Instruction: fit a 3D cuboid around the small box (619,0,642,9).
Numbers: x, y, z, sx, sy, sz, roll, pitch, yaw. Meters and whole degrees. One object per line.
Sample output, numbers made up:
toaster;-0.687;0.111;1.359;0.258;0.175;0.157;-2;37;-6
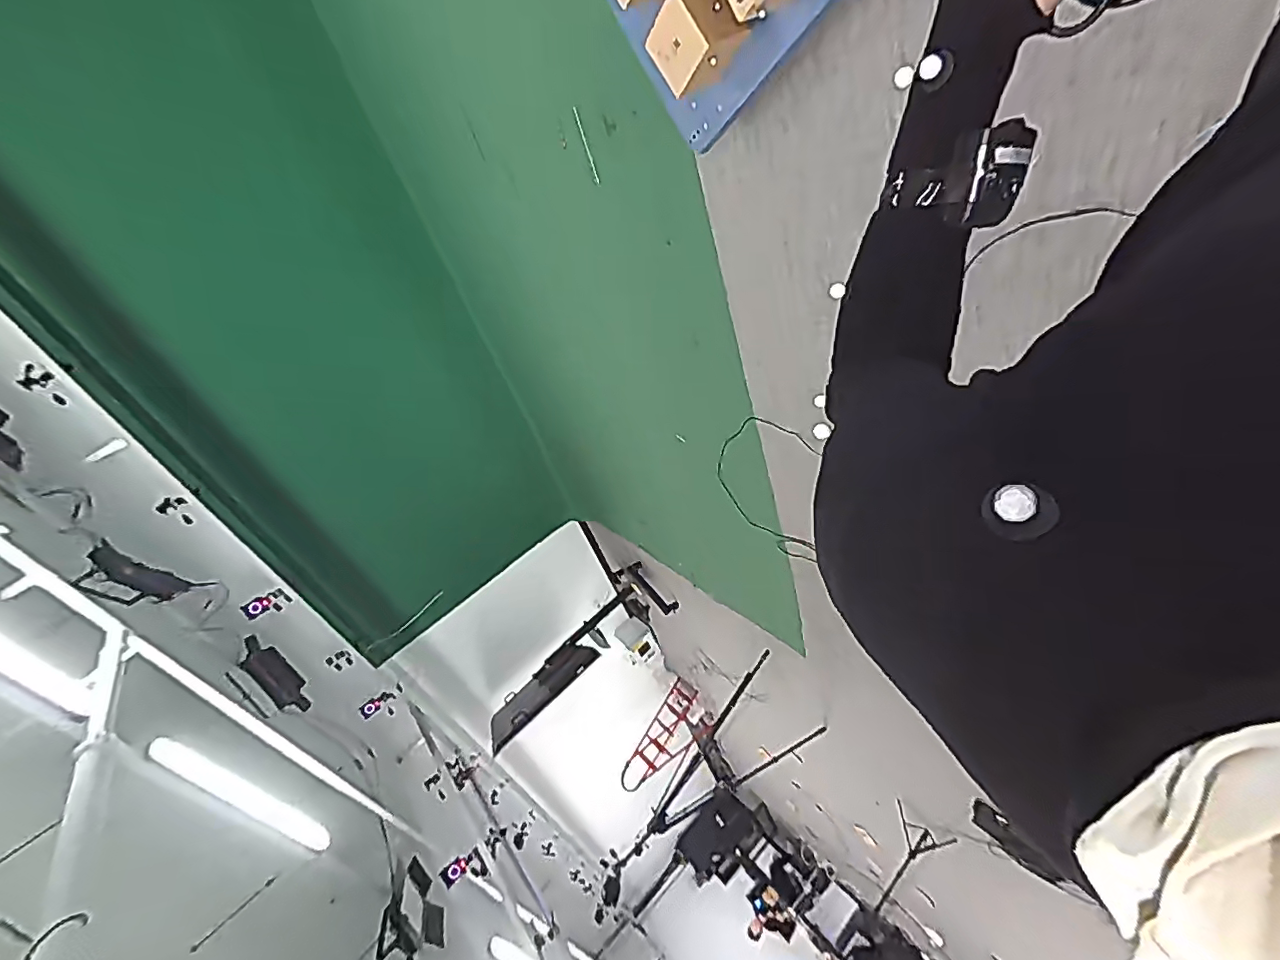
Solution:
small box;0.009;-1.382;1.391;0.168;0.176;0.179;55;157;-10

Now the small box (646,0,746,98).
small box;0.154;-1.172;1.429;0.168;0.176;0.179;56;157;-7
